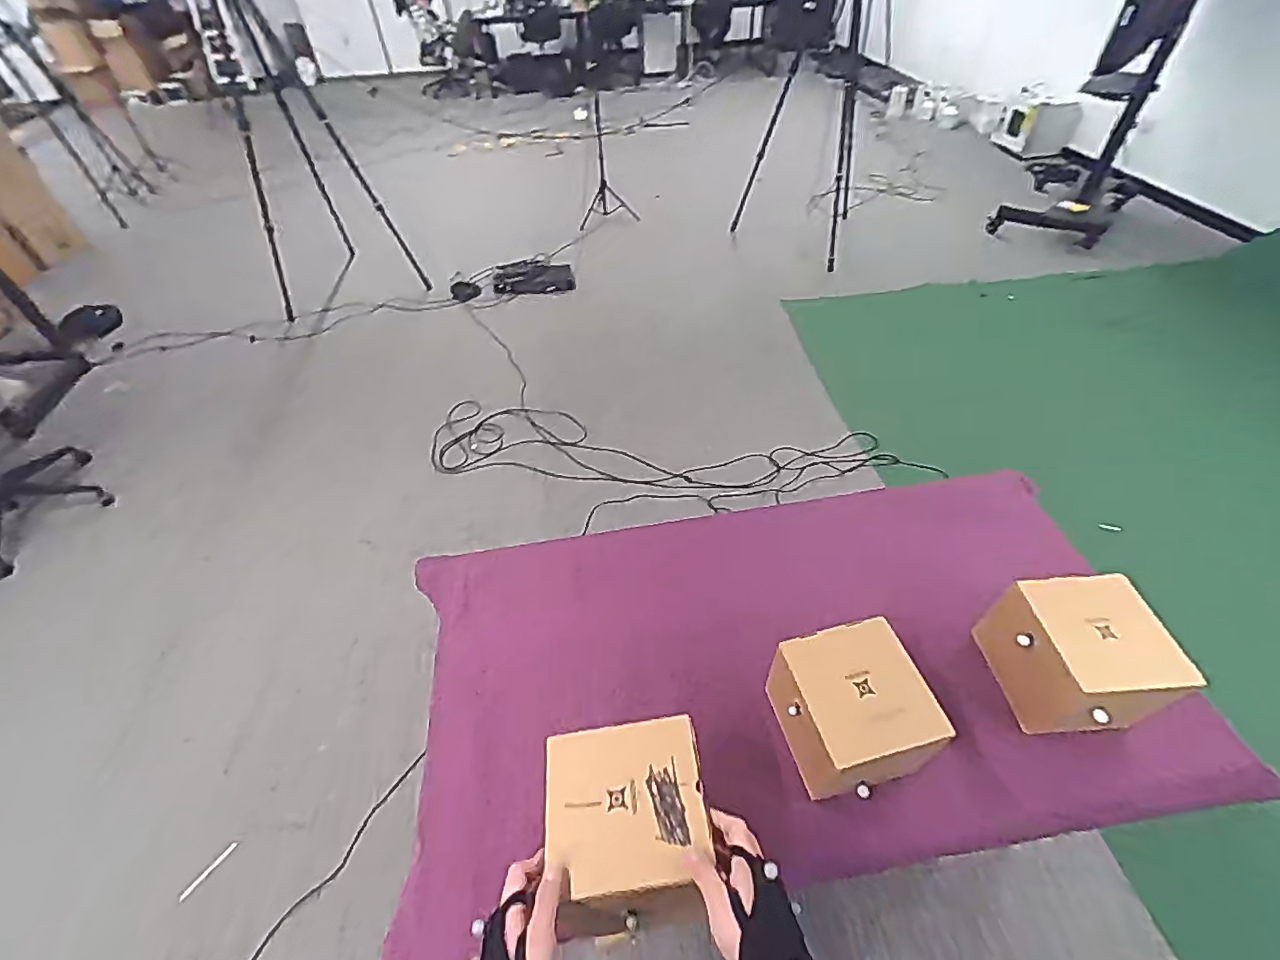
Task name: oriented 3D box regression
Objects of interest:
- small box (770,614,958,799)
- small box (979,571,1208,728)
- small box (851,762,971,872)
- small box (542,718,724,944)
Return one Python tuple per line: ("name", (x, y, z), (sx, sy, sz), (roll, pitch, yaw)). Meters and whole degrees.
("small box", (0.300, 0.323, 0.774), (0.168, 0.176, 0.179), (-12, 47, -7))
("small box", (0.659, 0.261, 0.816), (0.168, 0.176, 0.179), (-4, 46, 0))
("small box", (0.638, 0.807, 1.300), (0.168, 0.176, 0.179), (-13, 48, -10))
("small box", (-0.007, 0.401, 0.621), (0.179, 0.176, 0.168), (-8, 39, -1))
